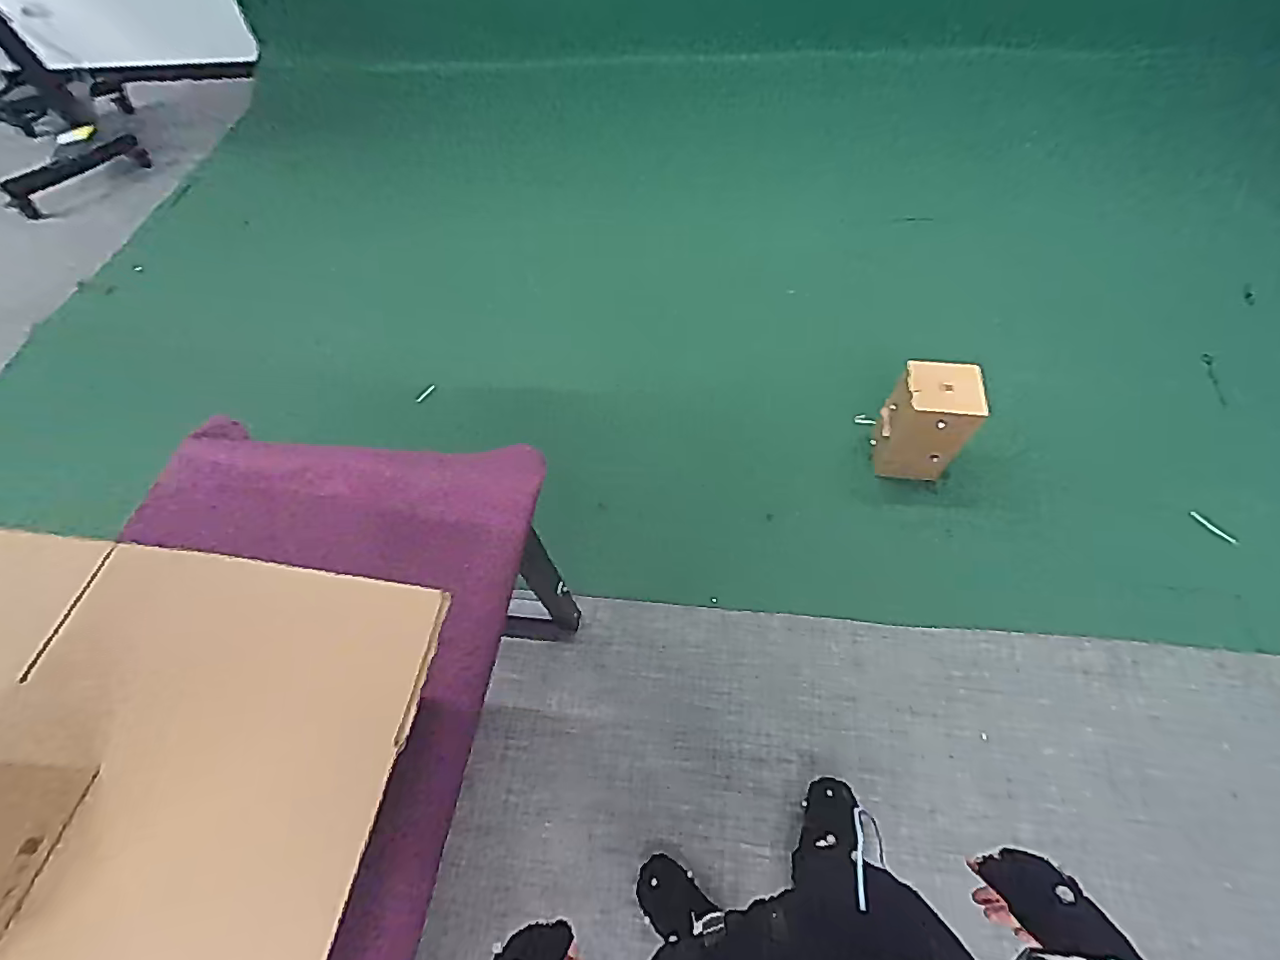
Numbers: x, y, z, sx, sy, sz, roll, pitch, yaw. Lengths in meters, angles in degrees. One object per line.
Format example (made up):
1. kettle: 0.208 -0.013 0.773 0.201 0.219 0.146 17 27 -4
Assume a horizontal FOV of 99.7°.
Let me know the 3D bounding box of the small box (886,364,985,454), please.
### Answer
1. small box: 0.778 -0.185 1.442 0.179 0.176 0.168 6 60 8

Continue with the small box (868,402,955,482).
1. small box: 0.788 -0.108 1.586 0.179 0.176 0.168 5 60 7
